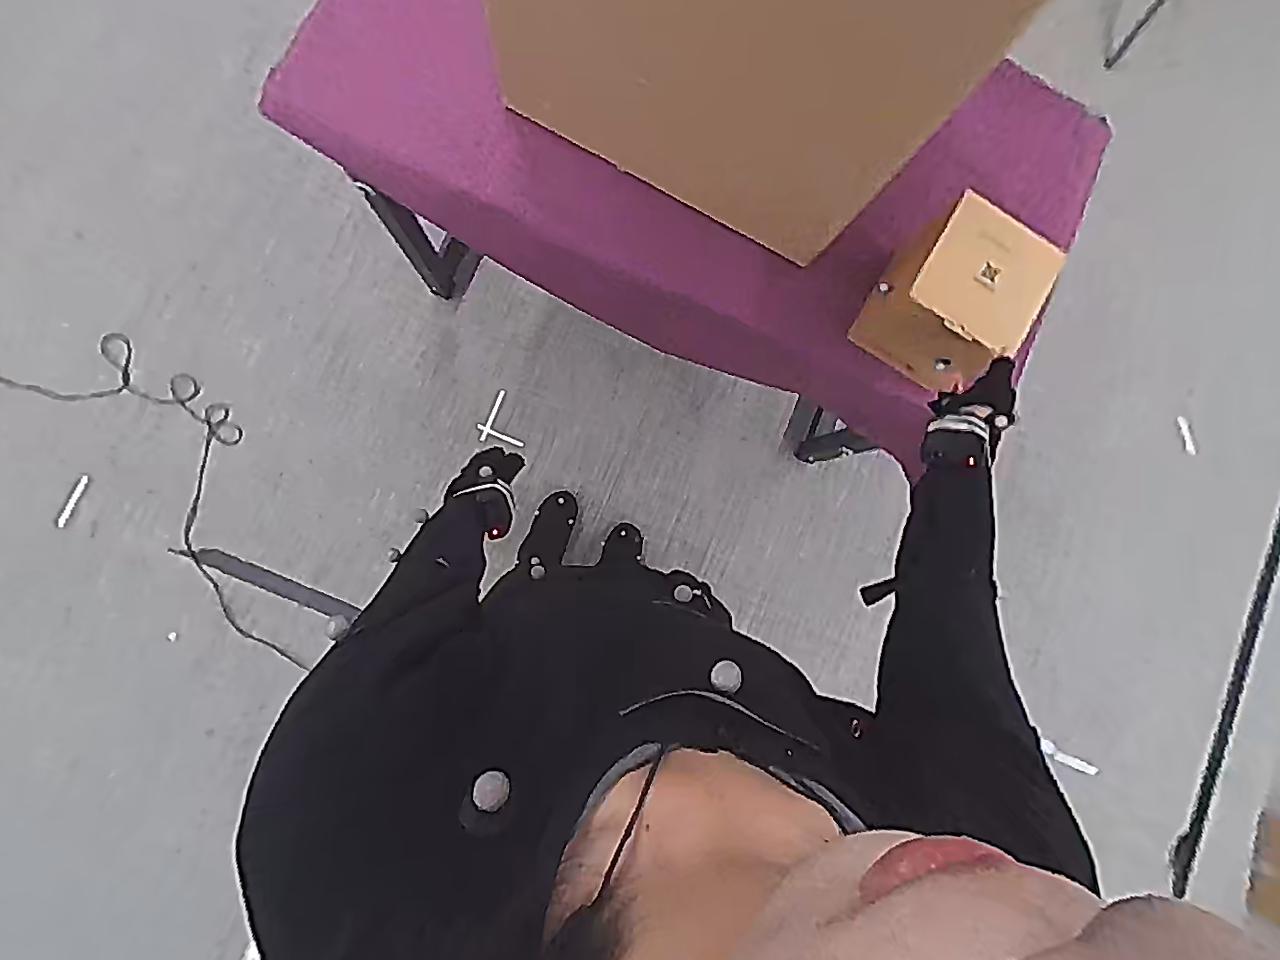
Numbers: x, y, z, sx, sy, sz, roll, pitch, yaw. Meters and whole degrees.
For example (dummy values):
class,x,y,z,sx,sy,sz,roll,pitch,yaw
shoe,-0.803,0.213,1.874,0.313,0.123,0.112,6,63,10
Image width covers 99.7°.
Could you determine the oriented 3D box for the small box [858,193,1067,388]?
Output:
class,x,y,z,sx,sy,sz,roll,pitch,yaw
small box,0.448,-0.258,0.783,0.168,0.176,0.179,31,82,-4
